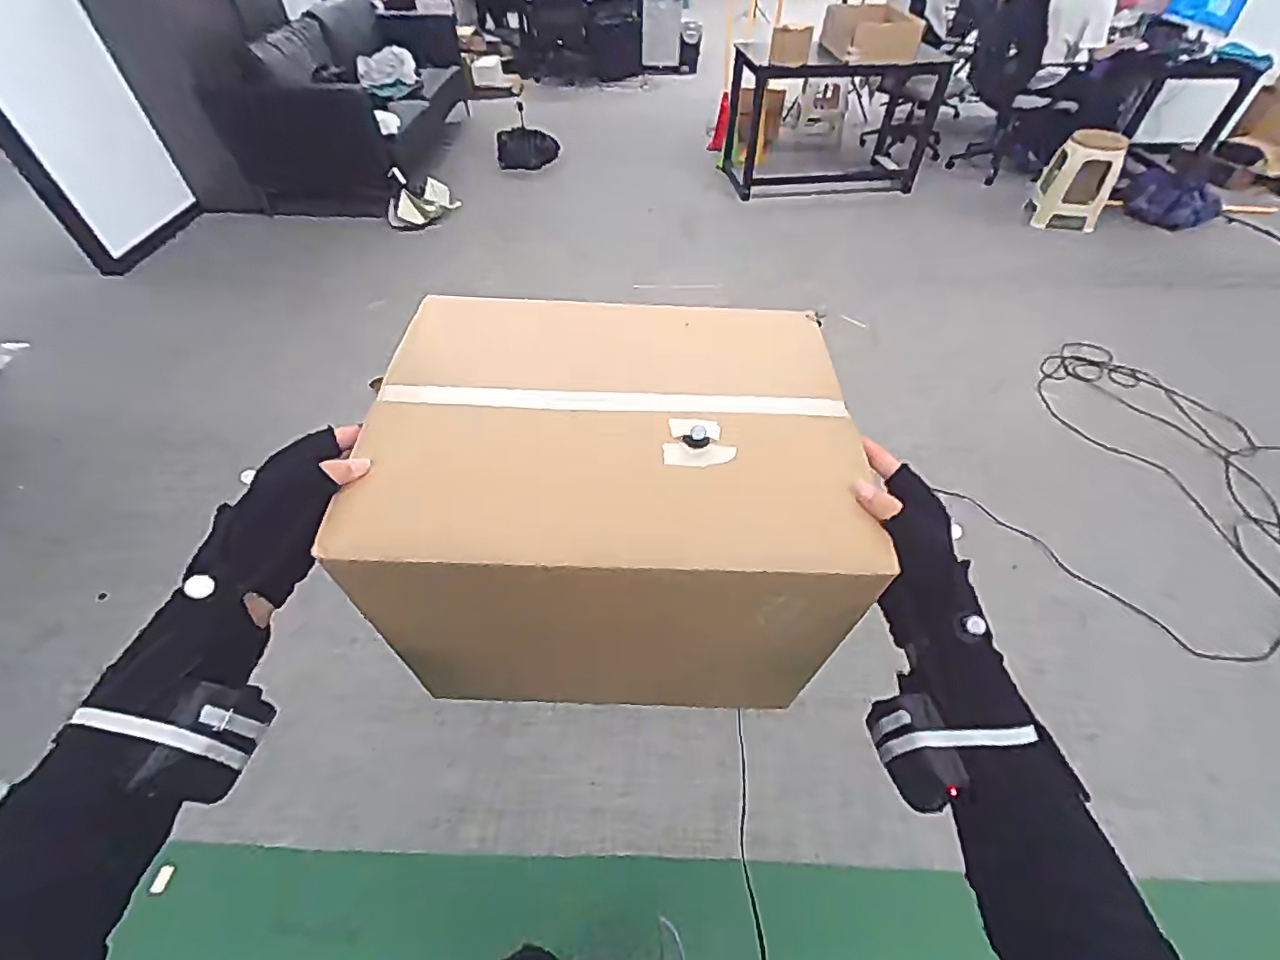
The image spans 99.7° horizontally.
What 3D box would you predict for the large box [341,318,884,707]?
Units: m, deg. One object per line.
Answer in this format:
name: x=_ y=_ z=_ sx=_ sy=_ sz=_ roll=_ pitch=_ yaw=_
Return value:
large box: x=-0.026 y=0.045 z=0.597 sx=0.408 sy=0.320 sz=0.320 roll=2 pitch=51 yaw=-3
